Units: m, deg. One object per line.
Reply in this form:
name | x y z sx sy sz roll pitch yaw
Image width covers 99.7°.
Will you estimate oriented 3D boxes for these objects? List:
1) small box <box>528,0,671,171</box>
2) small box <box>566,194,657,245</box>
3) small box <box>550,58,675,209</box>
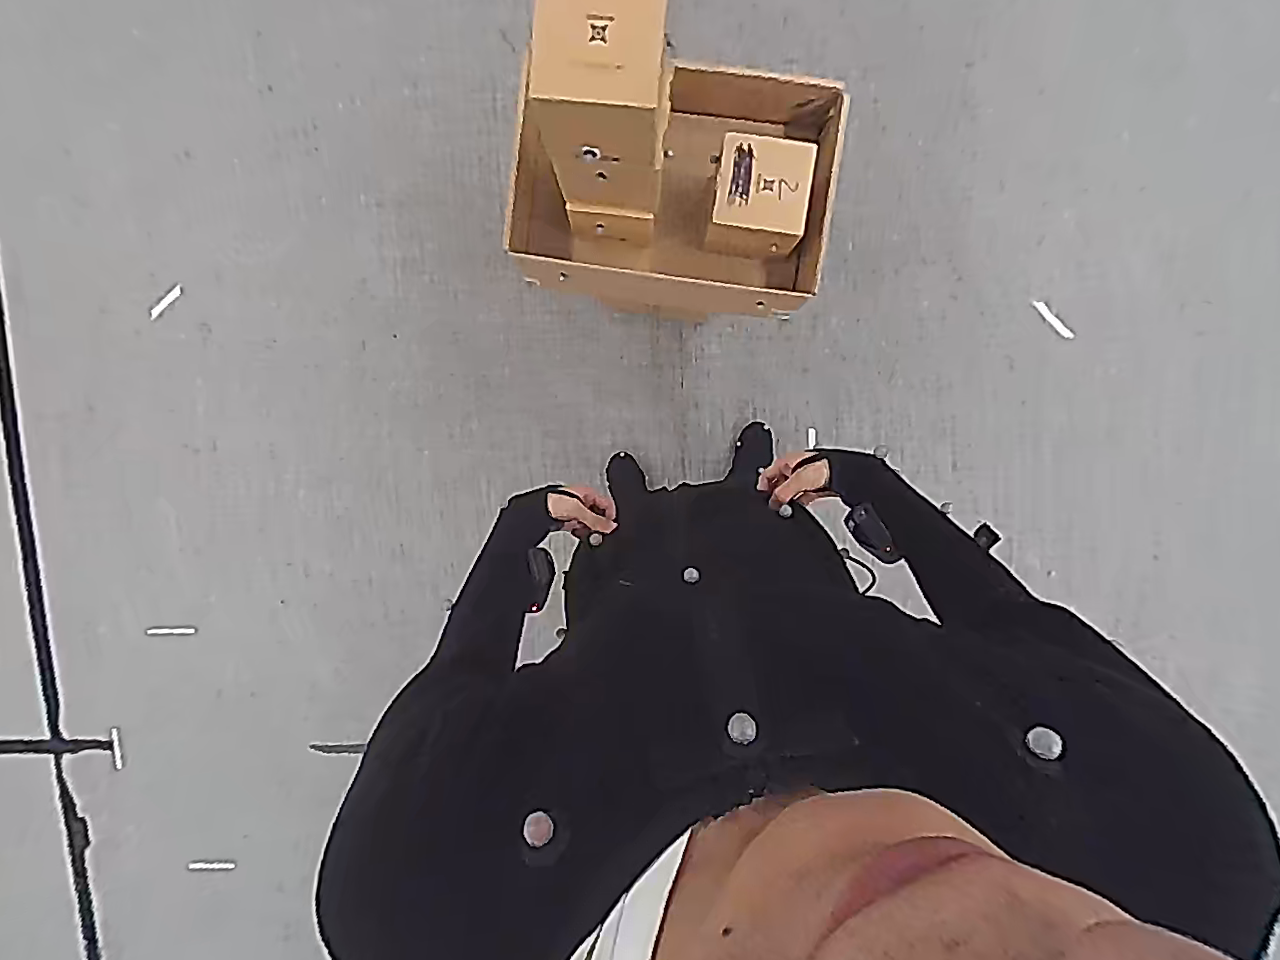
small box | -0.049 -0.564 0.744 0.168 0.176 0.179 6 94 1
small box | -0.047 -0.586 1.072 0.168 0.176 0.179 6 95 -1
small box | -0.043 -0.579 0.908 0.179 0.176 0.168 8 95 -1
